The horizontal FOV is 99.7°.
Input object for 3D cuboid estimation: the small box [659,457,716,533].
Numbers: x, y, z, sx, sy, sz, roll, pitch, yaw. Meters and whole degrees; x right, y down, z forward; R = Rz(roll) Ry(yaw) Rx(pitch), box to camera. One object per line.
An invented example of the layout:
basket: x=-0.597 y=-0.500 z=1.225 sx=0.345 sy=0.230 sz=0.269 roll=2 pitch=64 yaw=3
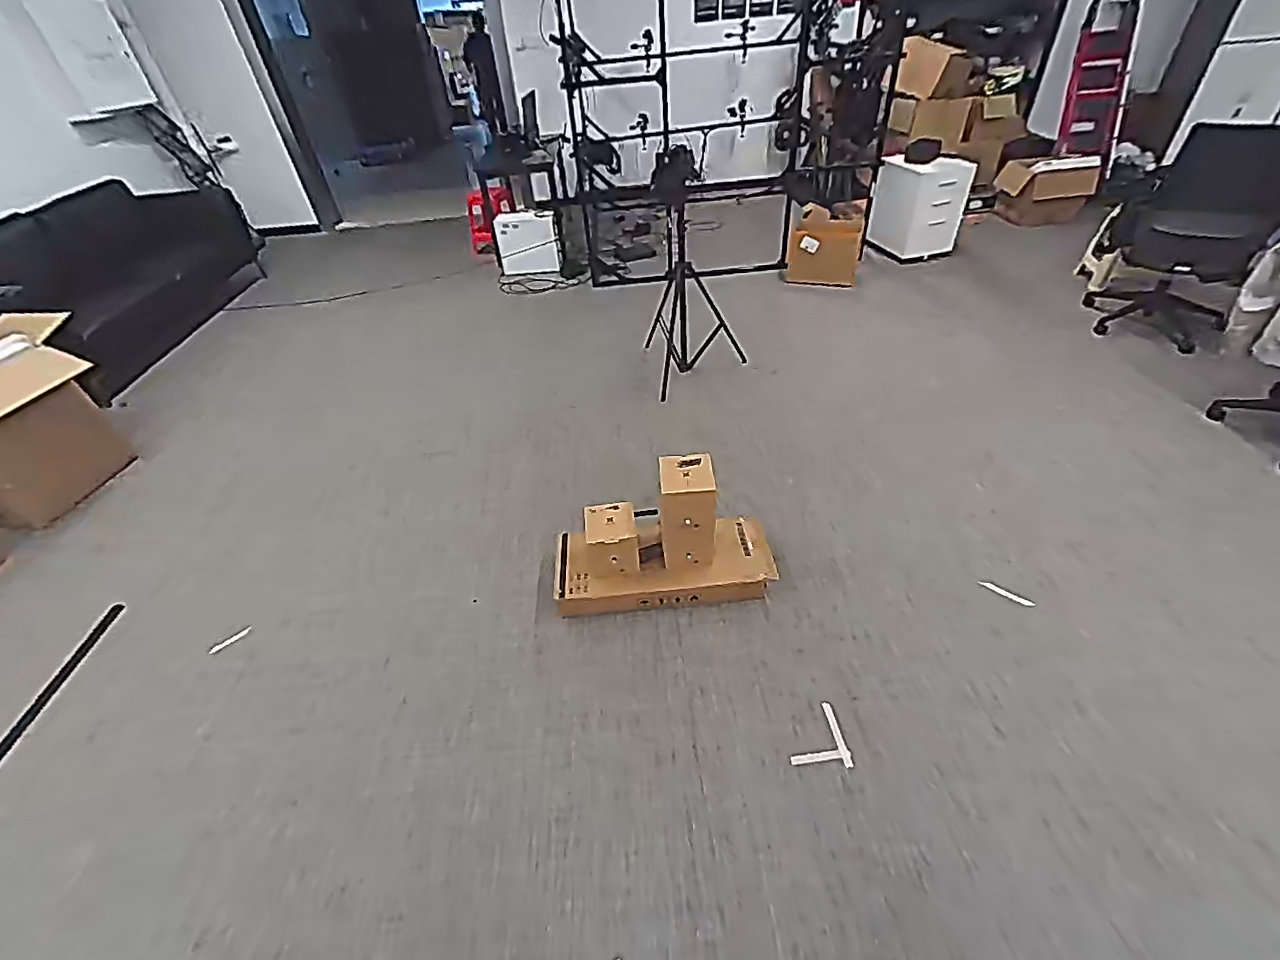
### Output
small box: x=0.149 y=0.049 z=1.726 sx=0.168 sy=0.176 sz=0.179 roll=-4 pitch=40 yaw=2

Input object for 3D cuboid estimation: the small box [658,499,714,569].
small box: x=0.152 y=0.176 z=1.830 sx=0.168 sy=0.176 sz=0.179 roll=-7 pitch=40 yaw=-1

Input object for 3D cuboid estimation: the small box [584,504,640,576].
small box: x=-0.094 y=0.207 z=1.821 sx=0.168 sy=0.176 sz=0.179 roll=-7 pitch=41 yaw=-2
